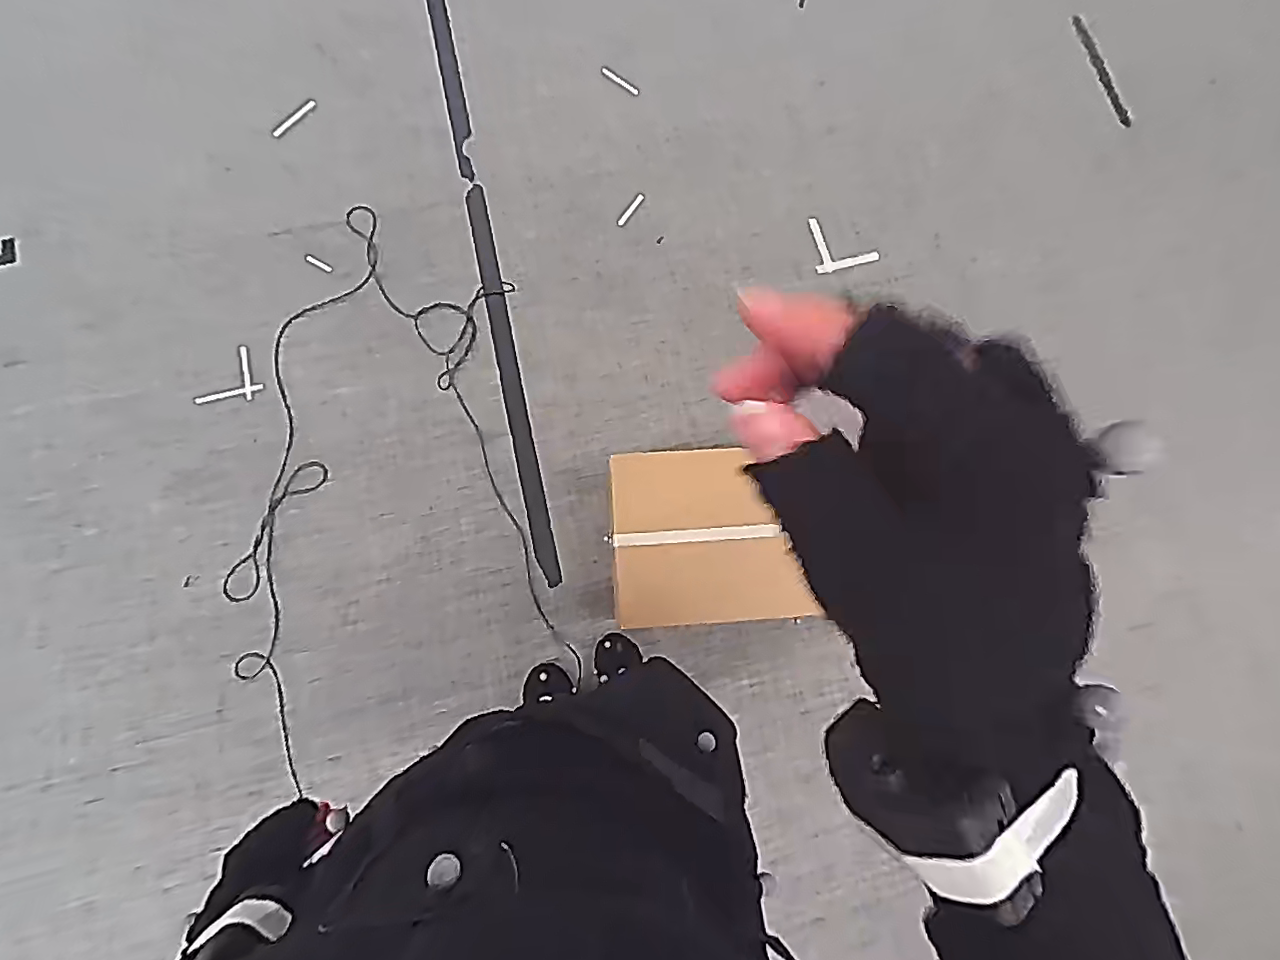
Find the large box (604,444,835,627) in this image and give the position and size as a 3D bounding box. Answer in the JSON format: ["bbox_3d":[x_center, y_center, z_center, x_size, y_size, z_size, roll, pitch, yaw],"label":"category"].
[{"bbox_3d":[0.135,0.121,1.127,0.408,0.320,0.320,-3,79,-4],"label":"large box"}]
